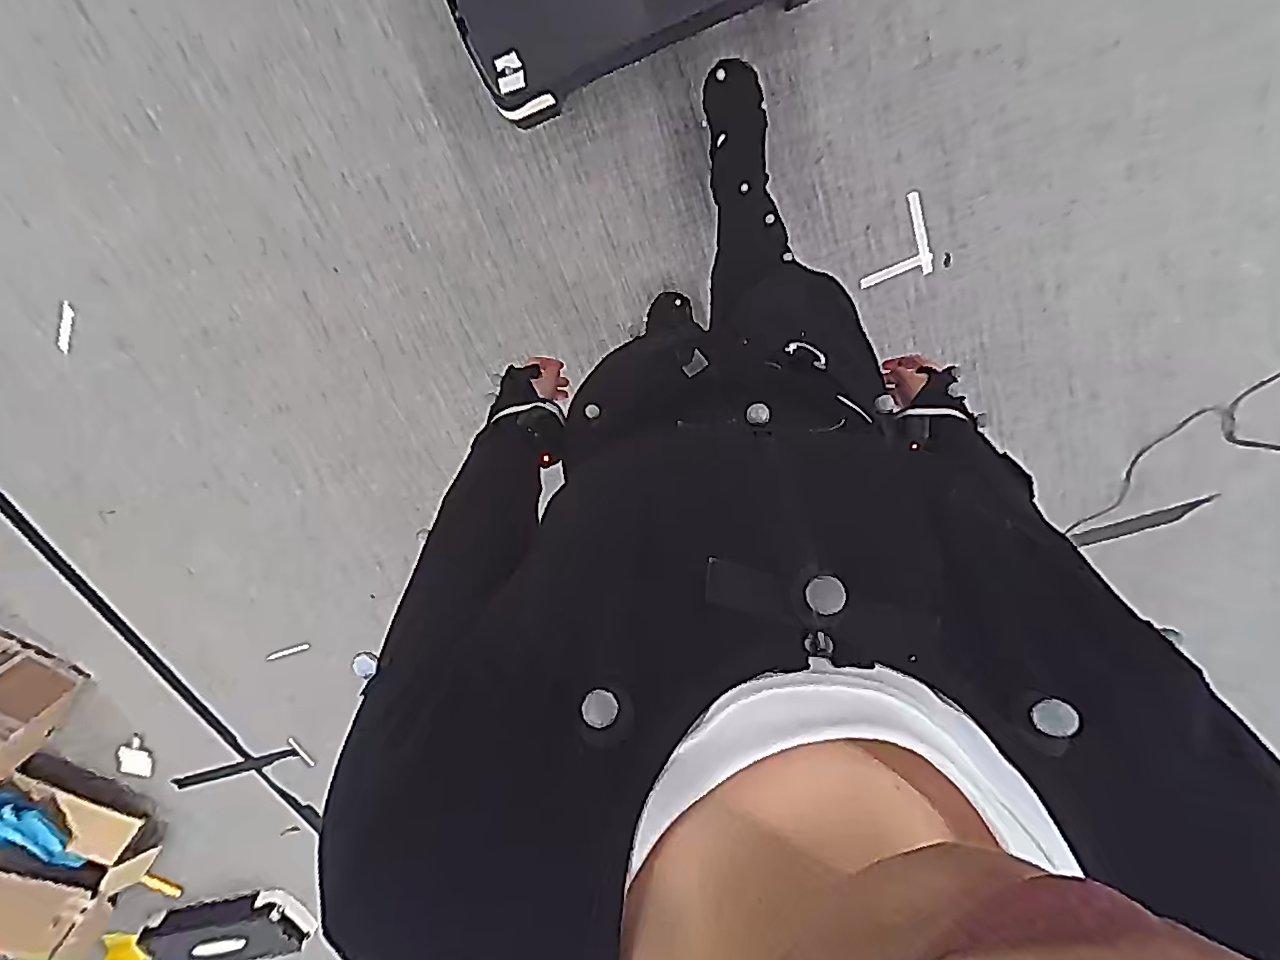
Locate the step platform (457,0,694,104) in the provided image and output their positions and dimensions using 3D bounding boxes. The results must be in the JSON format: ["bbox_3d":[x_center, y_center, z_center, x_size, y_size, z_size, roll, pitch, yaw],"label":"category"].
[{"bbox_3d":[0.012,-0.921,0.894,0.684,0.204,0.286,-18,113,10],"label":"step platform"}]
